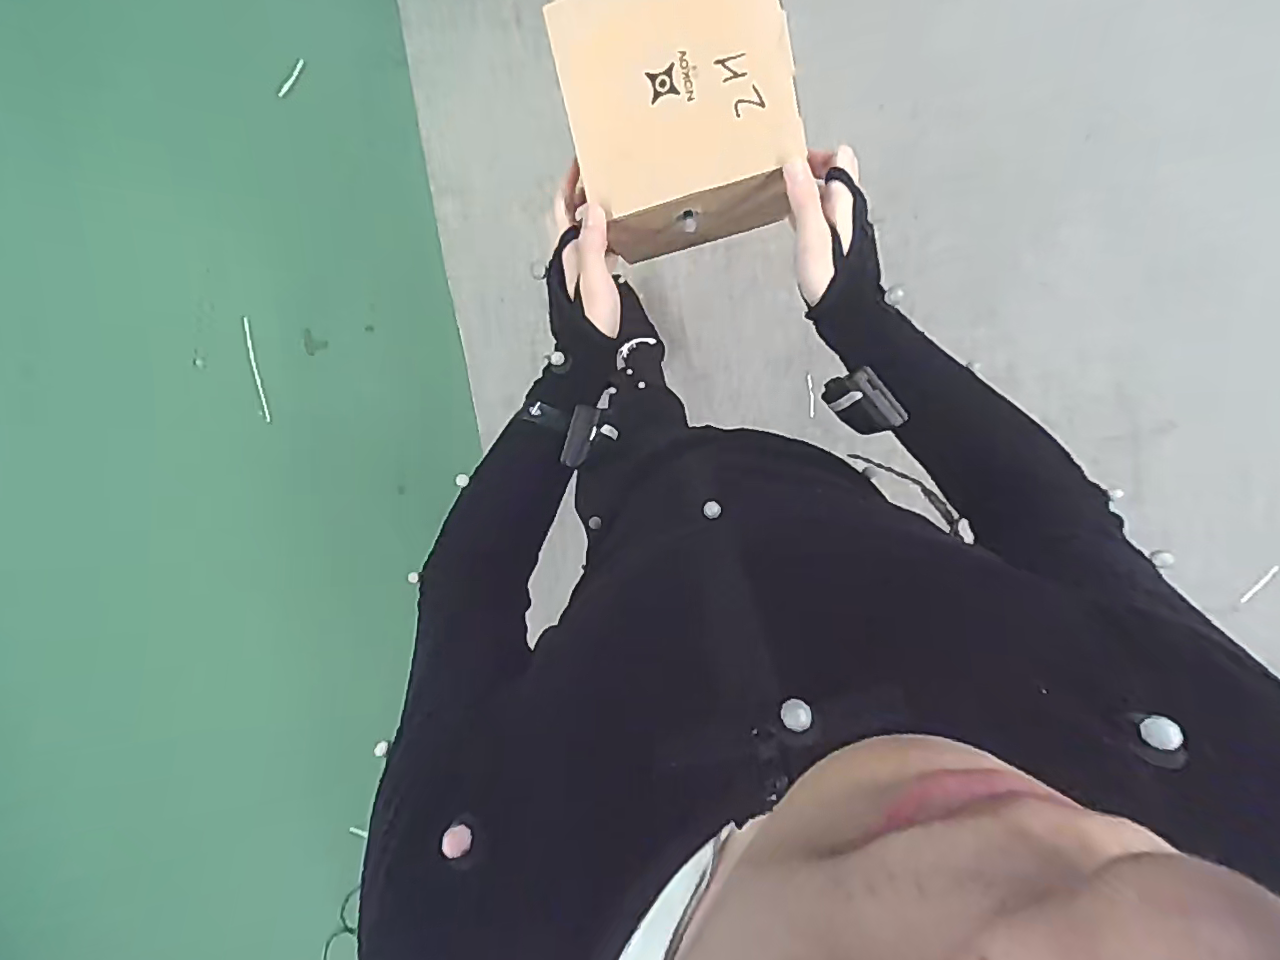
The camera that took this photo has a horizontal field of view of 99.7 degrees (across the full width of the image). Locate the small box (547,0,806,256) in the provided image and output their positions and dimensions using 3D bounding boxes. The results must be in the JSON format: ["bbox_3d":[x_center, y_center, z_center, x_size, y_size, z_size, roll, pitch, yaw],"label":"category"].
[{"bbox_3d":[0.040,-0.319,0.489,0.179,0.176,0.168,-11,99,11],"label":"small box"}]
